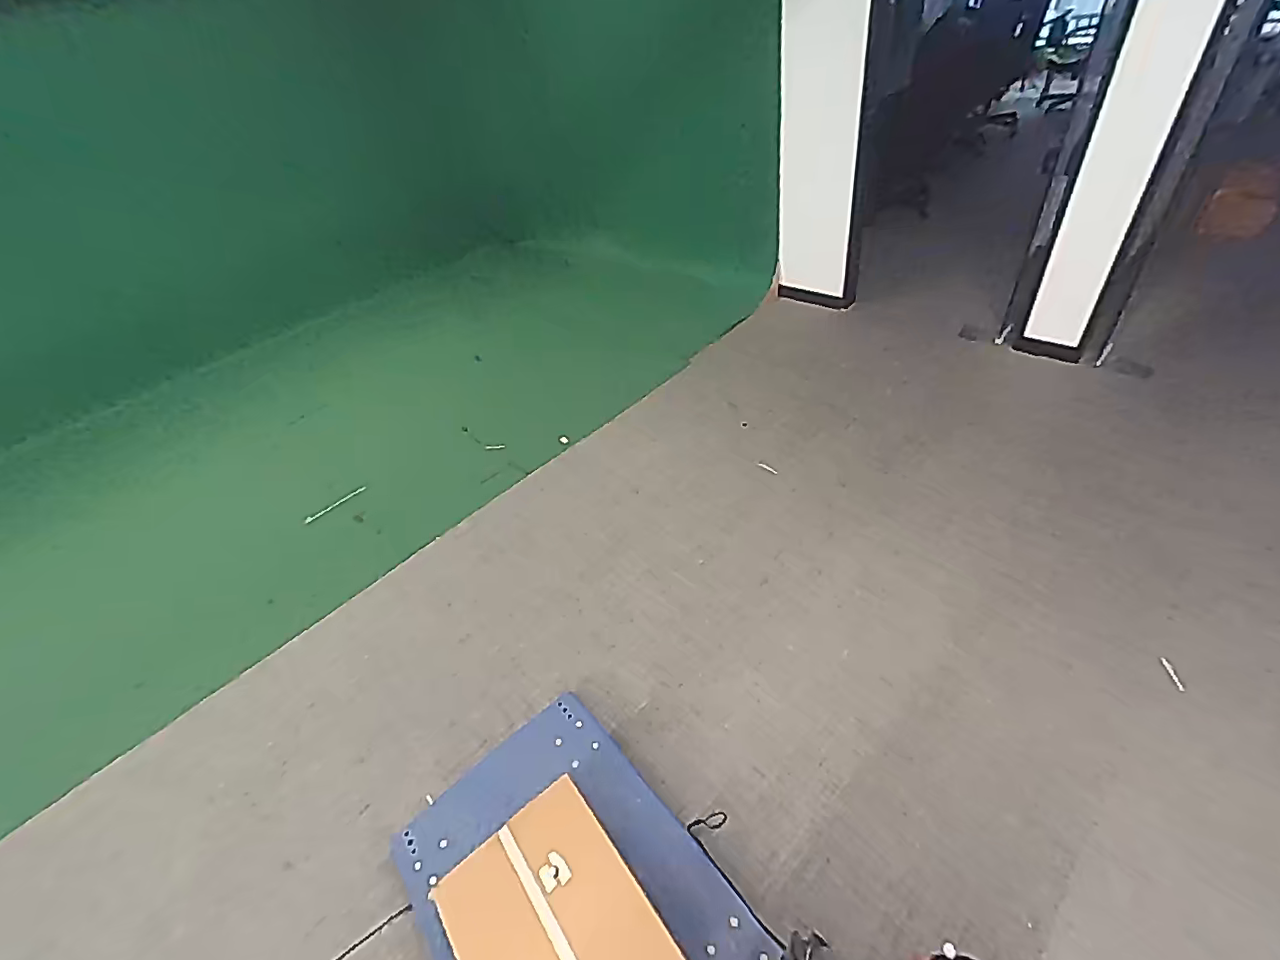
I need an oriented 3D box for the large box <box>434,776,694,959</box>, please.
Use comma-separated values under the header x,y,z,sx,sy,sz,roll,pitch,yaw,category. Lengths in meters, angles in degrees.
x,y,z,sx,sy,sz,roll,pitch,yaw,category
-0.121,0.885,1.035,0.320,0.320,0.408,-33,45,-22,large box
